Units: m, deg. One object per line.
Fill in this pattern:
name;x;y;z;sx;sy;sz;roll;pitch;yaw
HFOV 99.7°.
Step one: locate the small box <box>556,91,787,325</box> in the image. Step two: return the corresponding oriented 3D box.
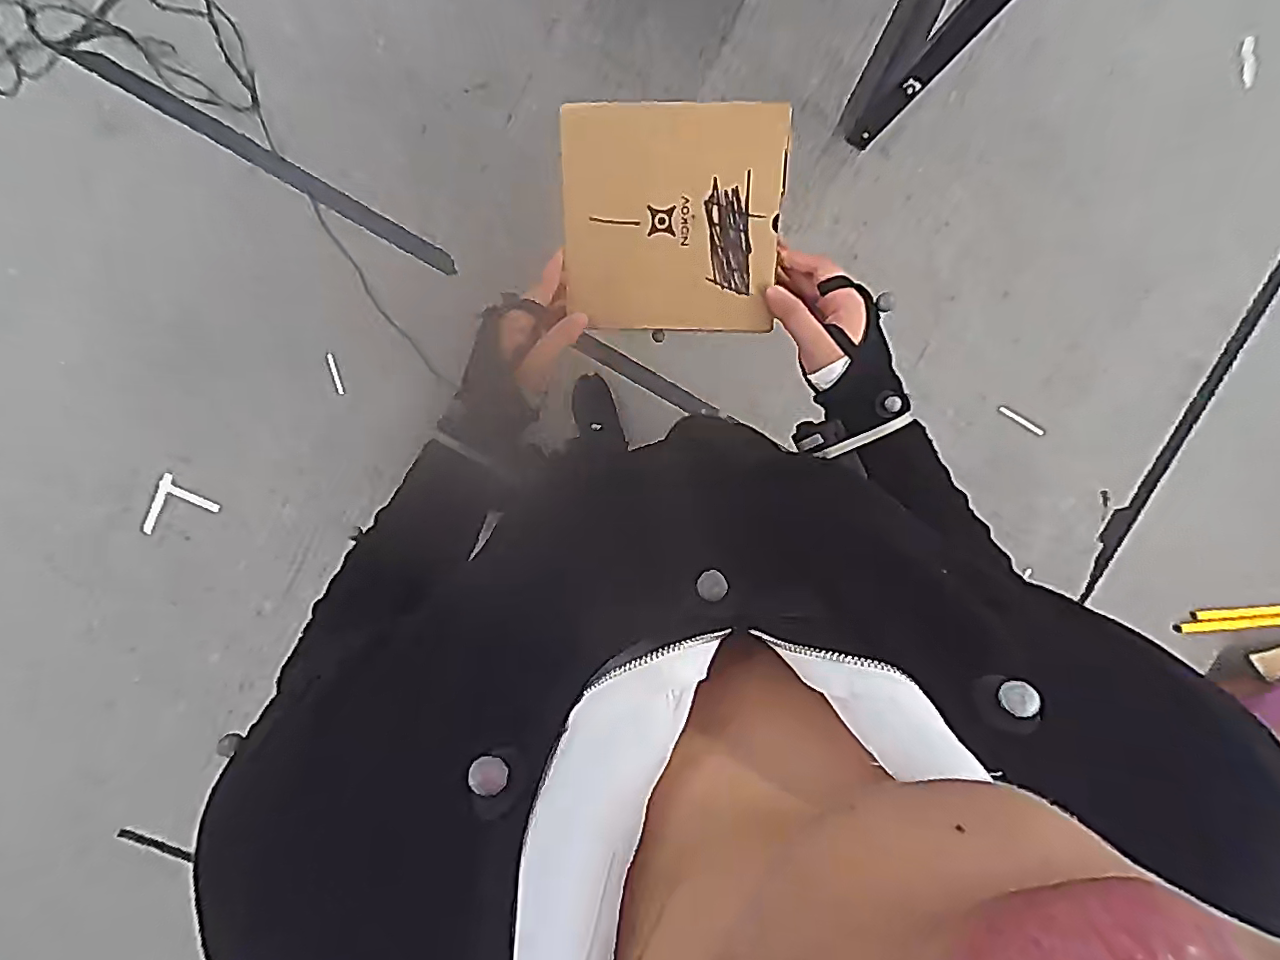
small box;0.023;-0.238;0.504;0.179;0.176;0.168;2;109;2
